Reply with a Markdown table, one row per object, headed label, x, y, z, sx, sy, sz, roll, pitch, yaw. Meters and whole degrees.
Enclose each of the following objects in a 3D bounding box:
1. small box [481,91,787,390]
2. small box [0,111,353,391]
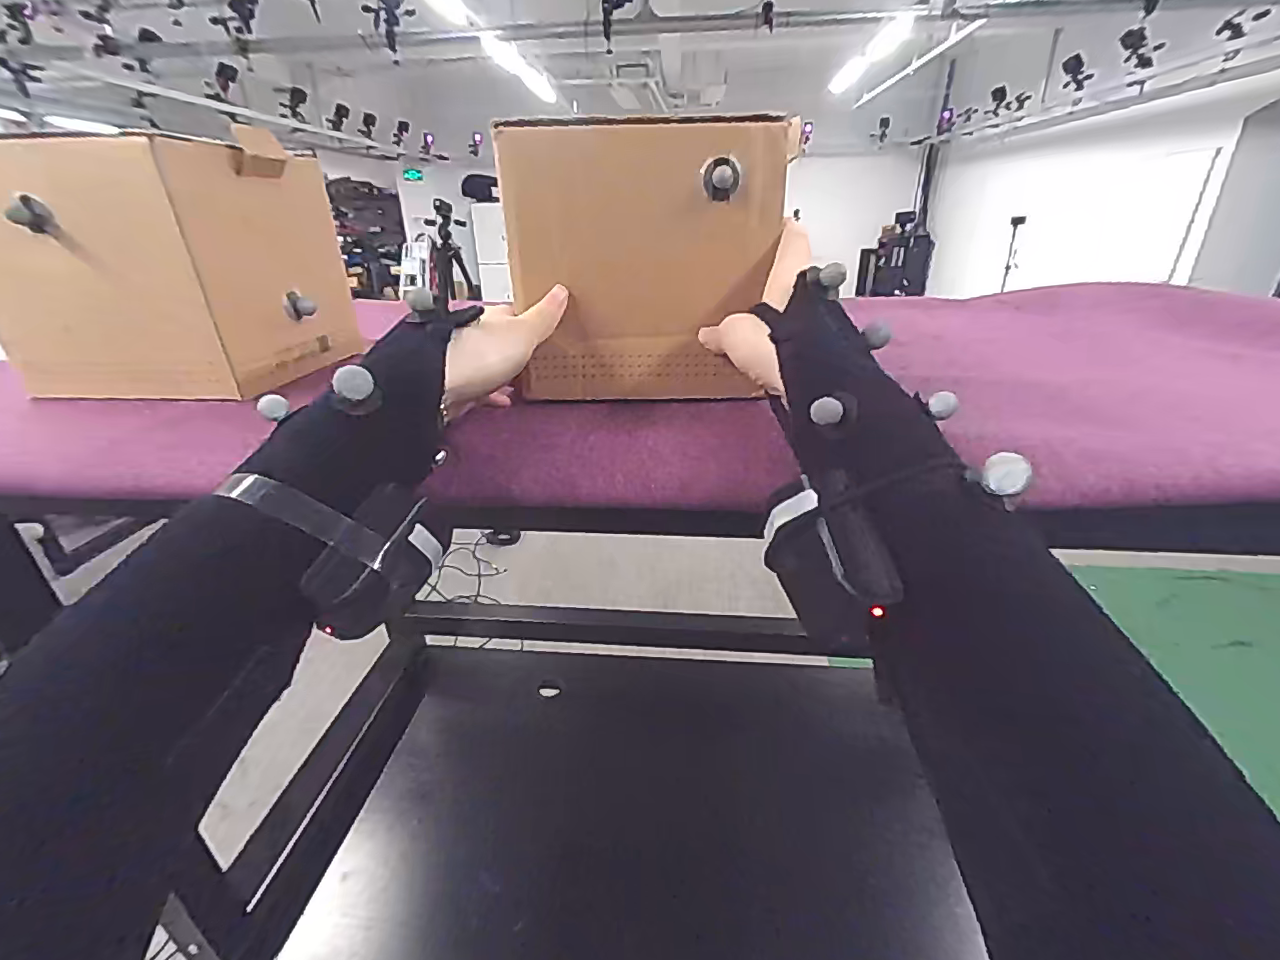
| label | x | y | z | sx | sy | sz | roll | pitch | yaw |
| --- | --- | --- | --- | --- | --- | --- | --- | --- | --- |
| small box | -0.001 | -0.166 | 0.404 | 0.179 | 0.176 | 0.168 | 0 | 24 | 1 |
| small box | -0.367 | -0.173 | 0.425 | 0.179 | 0.176 | 0.168 | 1 | 27 | 4 |
